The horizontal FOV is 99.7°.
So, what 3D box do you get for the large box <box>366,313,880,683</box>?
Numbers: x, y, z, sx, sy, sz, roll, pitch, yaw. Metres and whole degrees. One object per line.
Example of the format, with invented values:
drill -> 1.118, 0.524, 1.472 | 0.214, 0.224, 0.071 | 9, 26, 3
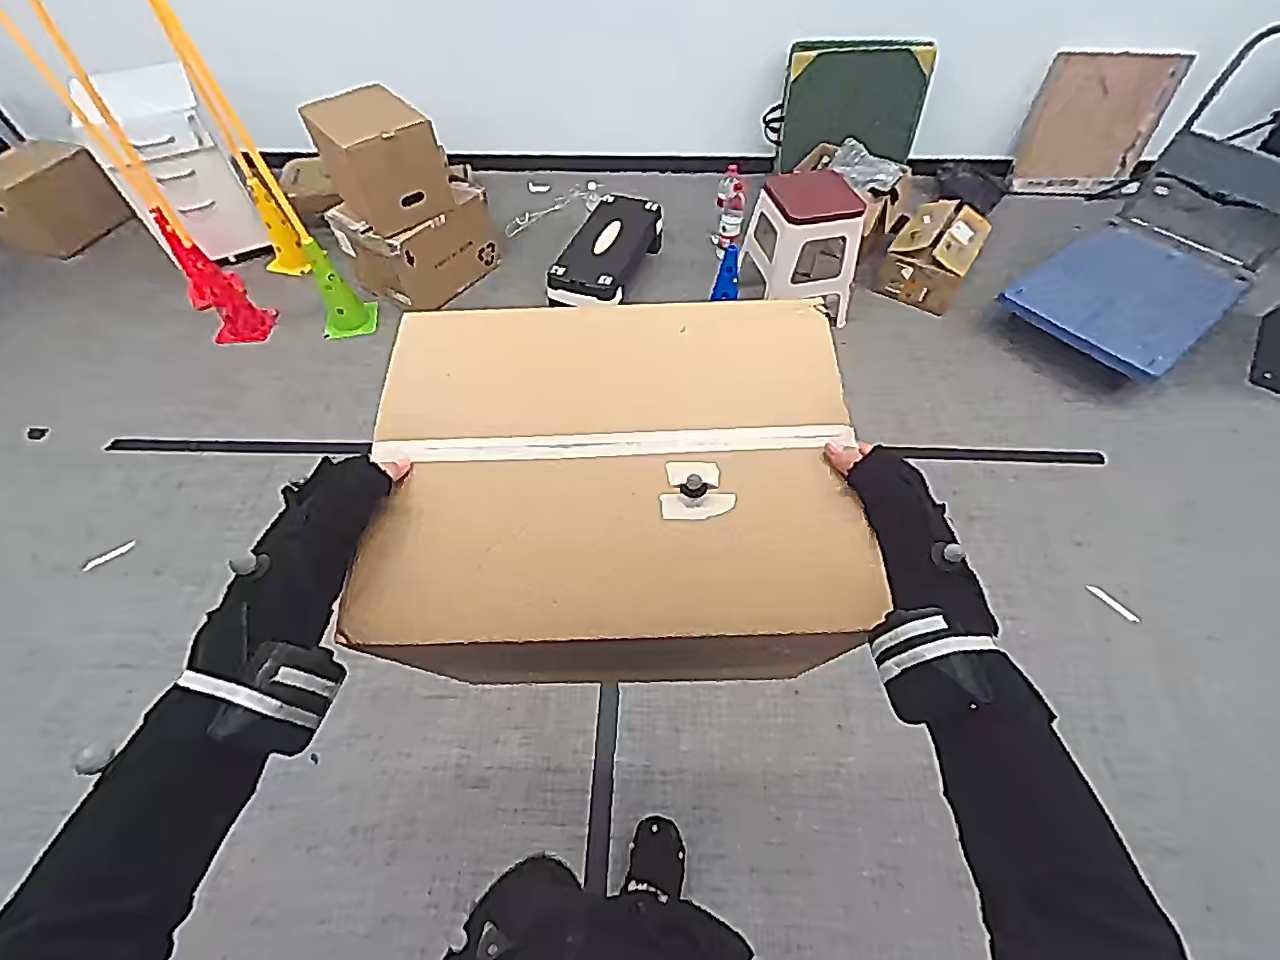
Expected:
large box -> -0.016, 0.043, 0.610 | 0.408, 0.320, 0.320 | -2, 64, 1
